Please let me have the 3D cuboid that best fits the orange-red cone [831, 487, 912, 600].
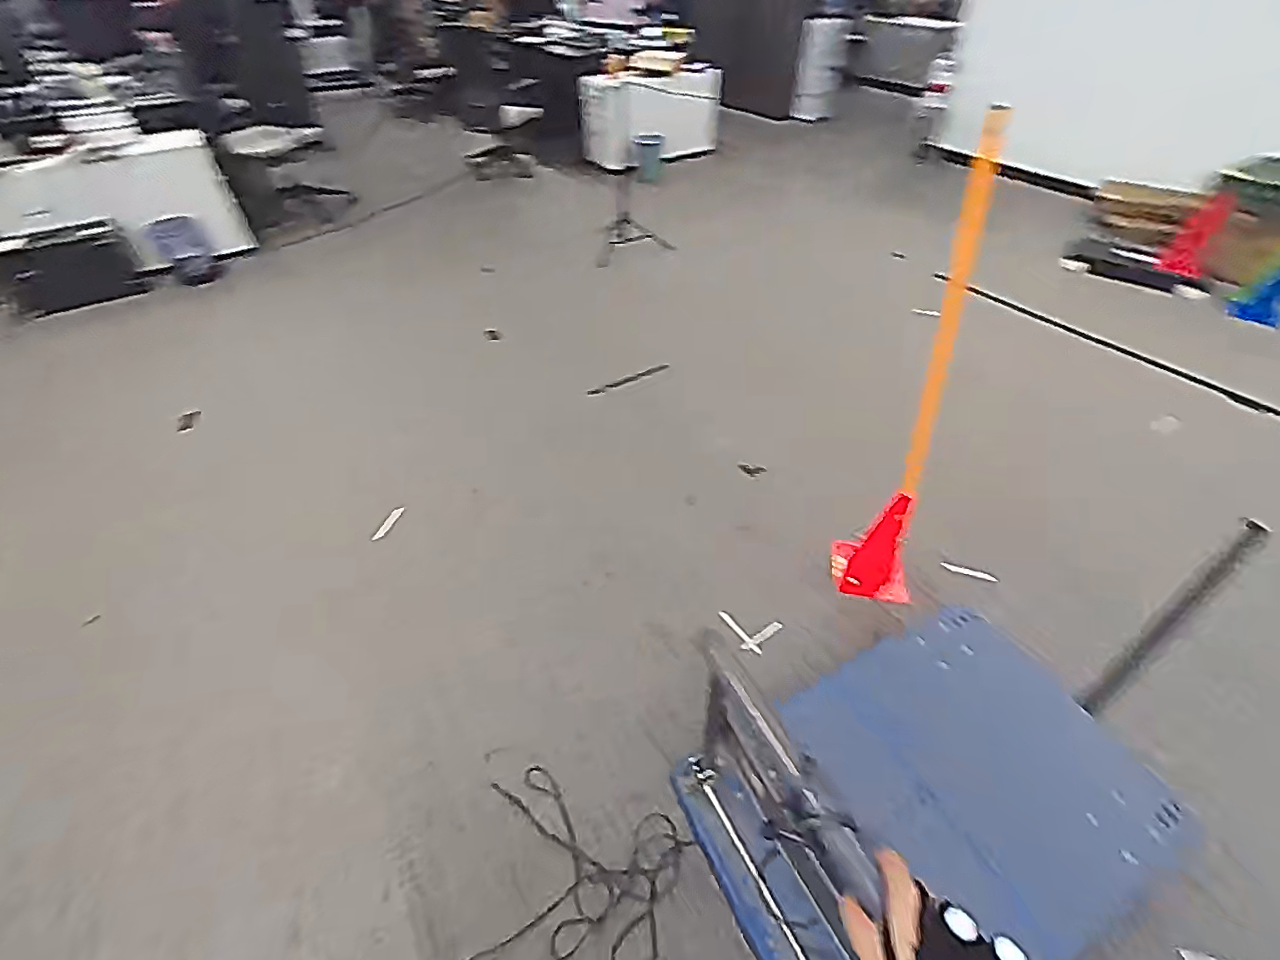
[{"bbox_3d":[0.688,0.152,1.530,0.199,0.360,0.198,9,47,7],"label":"orange-red cone"}]
